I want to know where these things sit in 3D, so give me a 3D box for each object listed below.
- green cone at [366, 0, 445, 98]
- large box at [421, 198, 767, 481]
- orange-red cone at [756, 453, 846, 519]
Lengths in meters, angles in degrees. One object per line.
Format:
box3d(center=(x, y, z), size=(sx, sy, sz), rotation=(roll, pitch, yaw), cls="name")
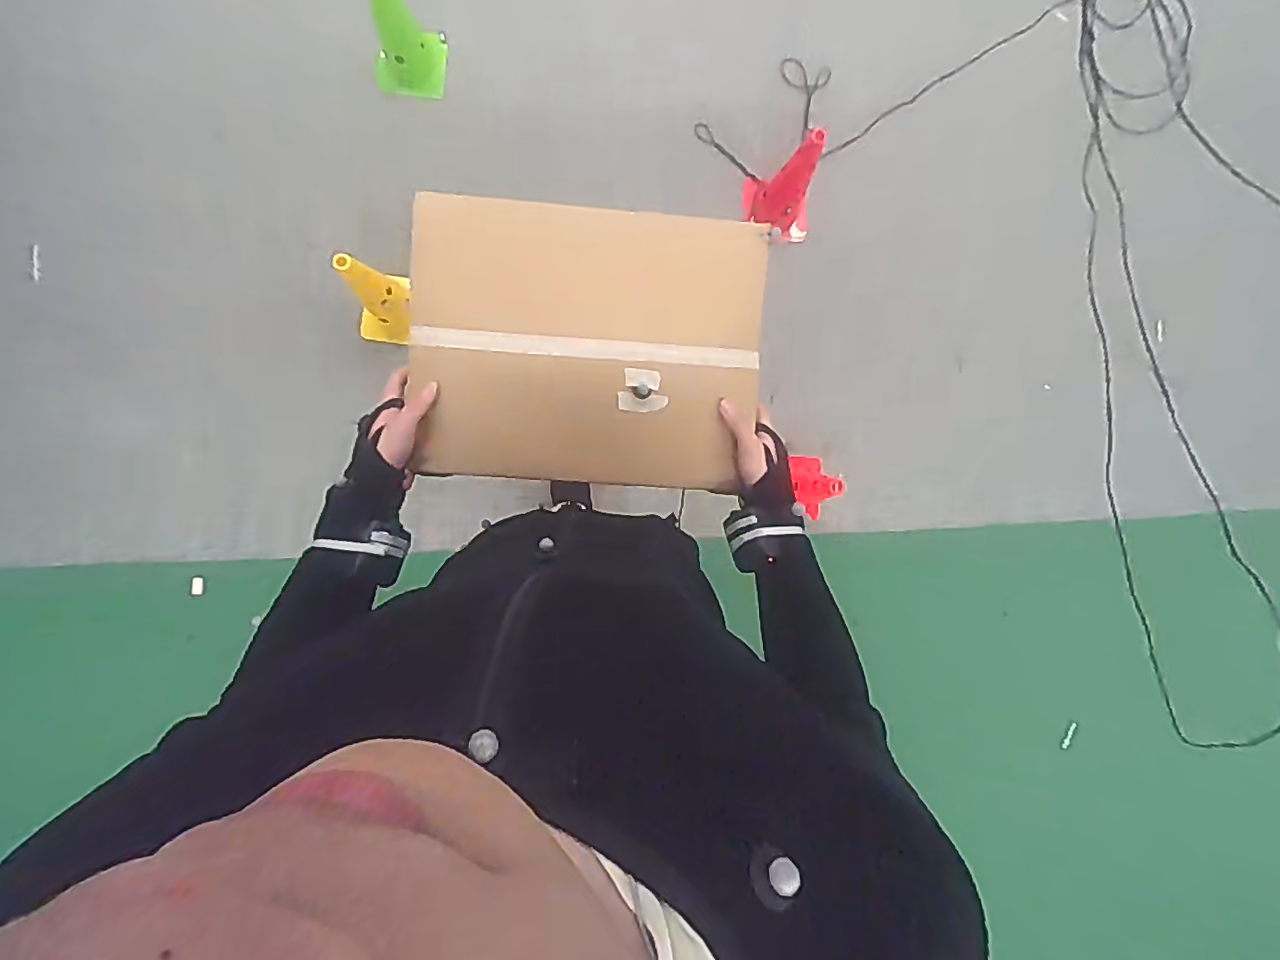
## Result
box3d(center=(-0.679, -1.255, 1.450), size=(0.200, 0.368, 0.202), rotation=(4, 90, -3), cls="green cone")
box3d(center=(-0.065, -0.172, 0.783), size=(0.408, 0.320, 0.320), rotation=(3, 96, -4), cls="large box")
box3d(center=(0.479, 0.019, 1.510), size=(0.199, 0.360, 0.198), rotation=(5, 90, -5), cls="orange-red cone")
